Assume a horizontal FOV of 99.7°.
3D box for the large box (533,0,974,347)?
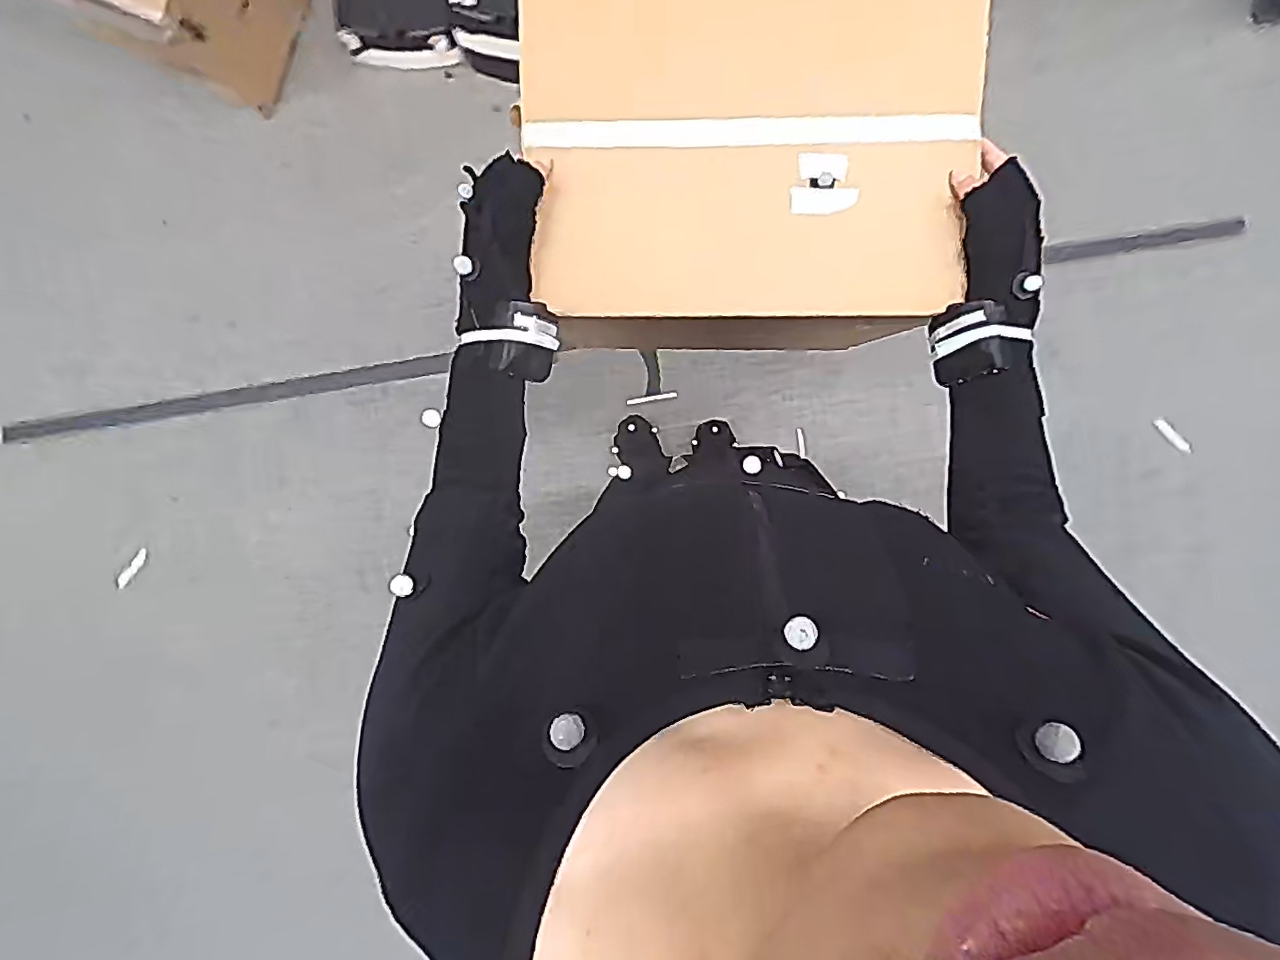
[{"bbox_3d":[0.103,-0.335,0.651,0.408,0.320,0.320,1,99,1],"label":"large box"}]
